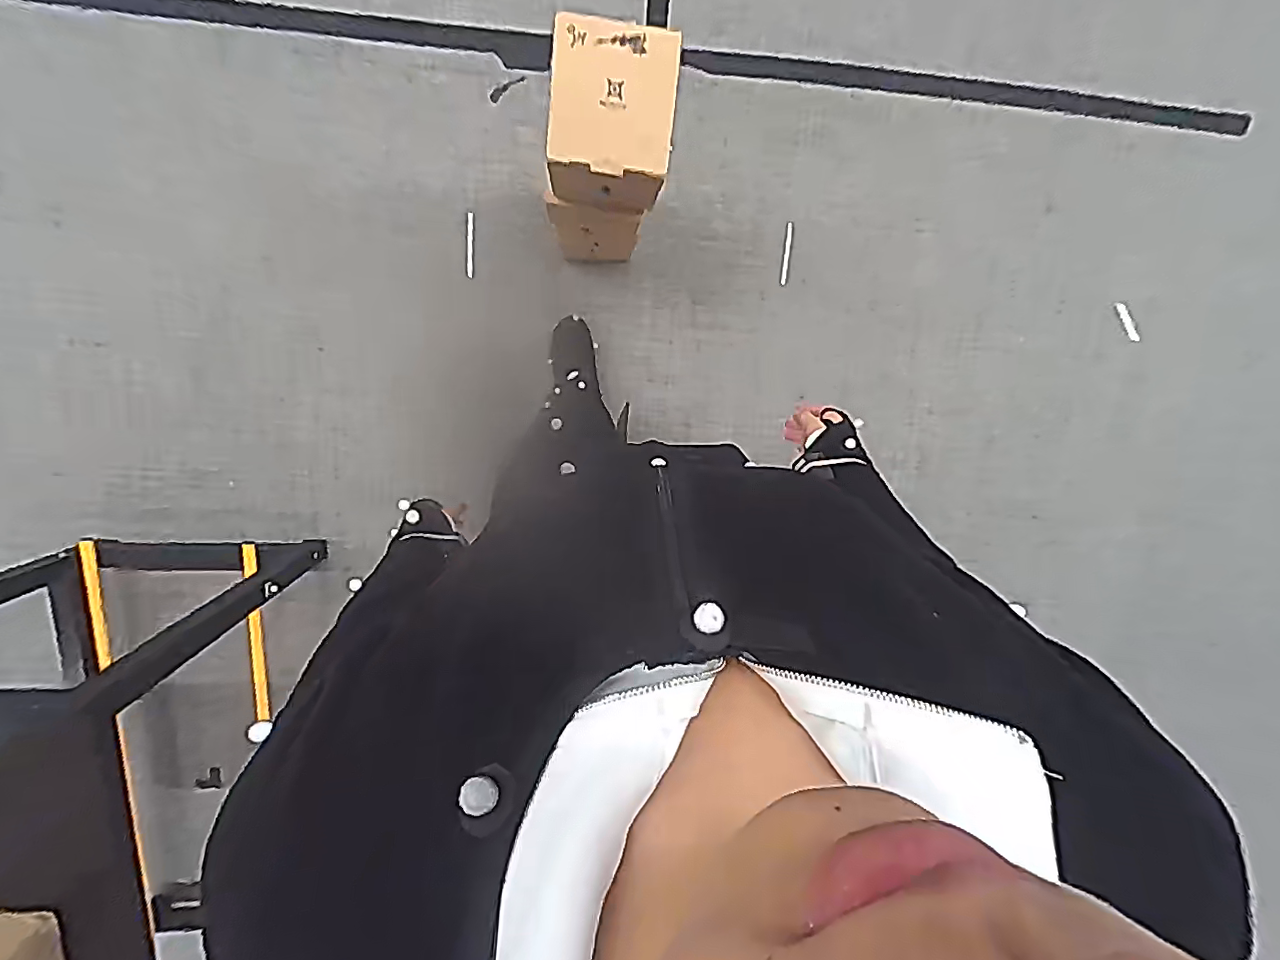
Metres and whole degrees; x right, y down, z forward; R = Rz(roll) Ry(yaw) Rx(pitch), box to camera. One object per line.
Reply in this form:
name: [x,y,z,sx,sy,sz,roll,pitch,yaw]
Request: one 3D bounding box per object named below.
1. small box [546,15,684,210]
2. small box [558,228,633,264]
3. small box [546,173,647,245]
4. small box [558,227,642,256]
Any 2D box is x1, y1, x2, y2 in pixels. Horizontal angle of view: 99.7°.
small box: [-0.039,-0.511,0.782,0.168,0.176,0.179,6,102,-6]
small box: [-0.100,-0.607,1.260,0.179,0.176,0.168,-1,102,-6]
small box: [-0.065,-0.531,0.944,0.168,0.176,0.179,8,102,-6]
small box: [-0.080,-0.572,1.100,0.168,0.176,0.179,3,102,-6]
